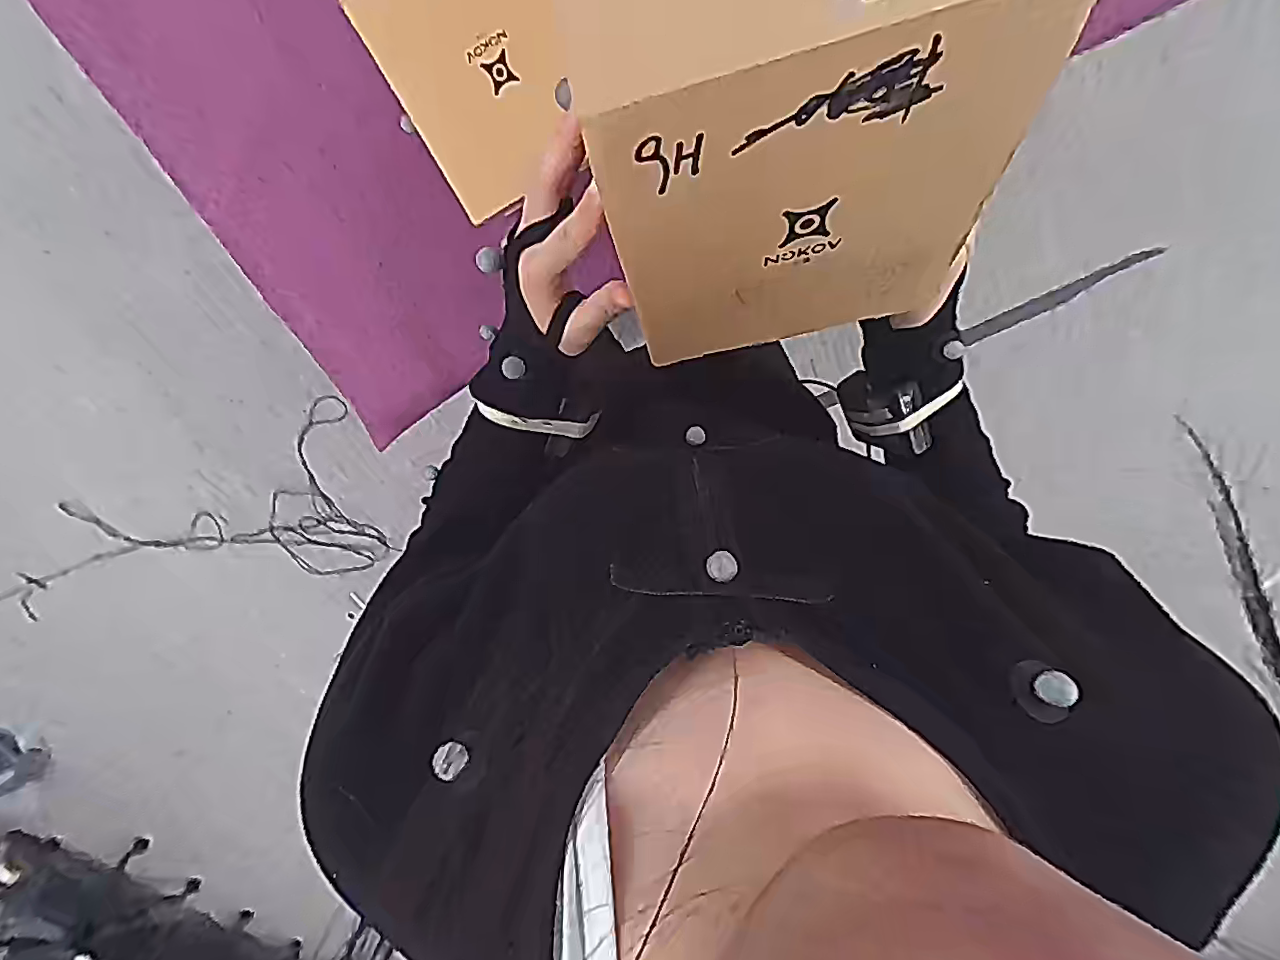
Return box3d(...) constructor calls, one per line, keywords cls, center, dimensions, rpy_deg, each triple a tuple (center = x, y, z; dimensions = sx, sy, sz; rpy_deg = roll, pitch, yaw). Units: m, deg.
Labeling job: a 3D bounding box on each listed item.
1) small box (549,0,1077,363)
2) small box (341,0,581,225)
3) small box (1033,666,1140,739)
box3d(cls="small box", center=(0.056, -0.187, 0.273), dimensions=(0.168, 0.176, 0.179), rpy_deg=(-12, 163, 7))
box3d(cls="small box", center=(-0.117, -0.364, 0.496), dimensions=(0.168, 0.176, 0.179), rpy_deg=(-26, 116, 11))
box3d(cls="small box", center=(1.459, 0.739, 1.784), dimensions=(0.179, 0.176, 0.168), rpy_deg=(11, 119, -10))
